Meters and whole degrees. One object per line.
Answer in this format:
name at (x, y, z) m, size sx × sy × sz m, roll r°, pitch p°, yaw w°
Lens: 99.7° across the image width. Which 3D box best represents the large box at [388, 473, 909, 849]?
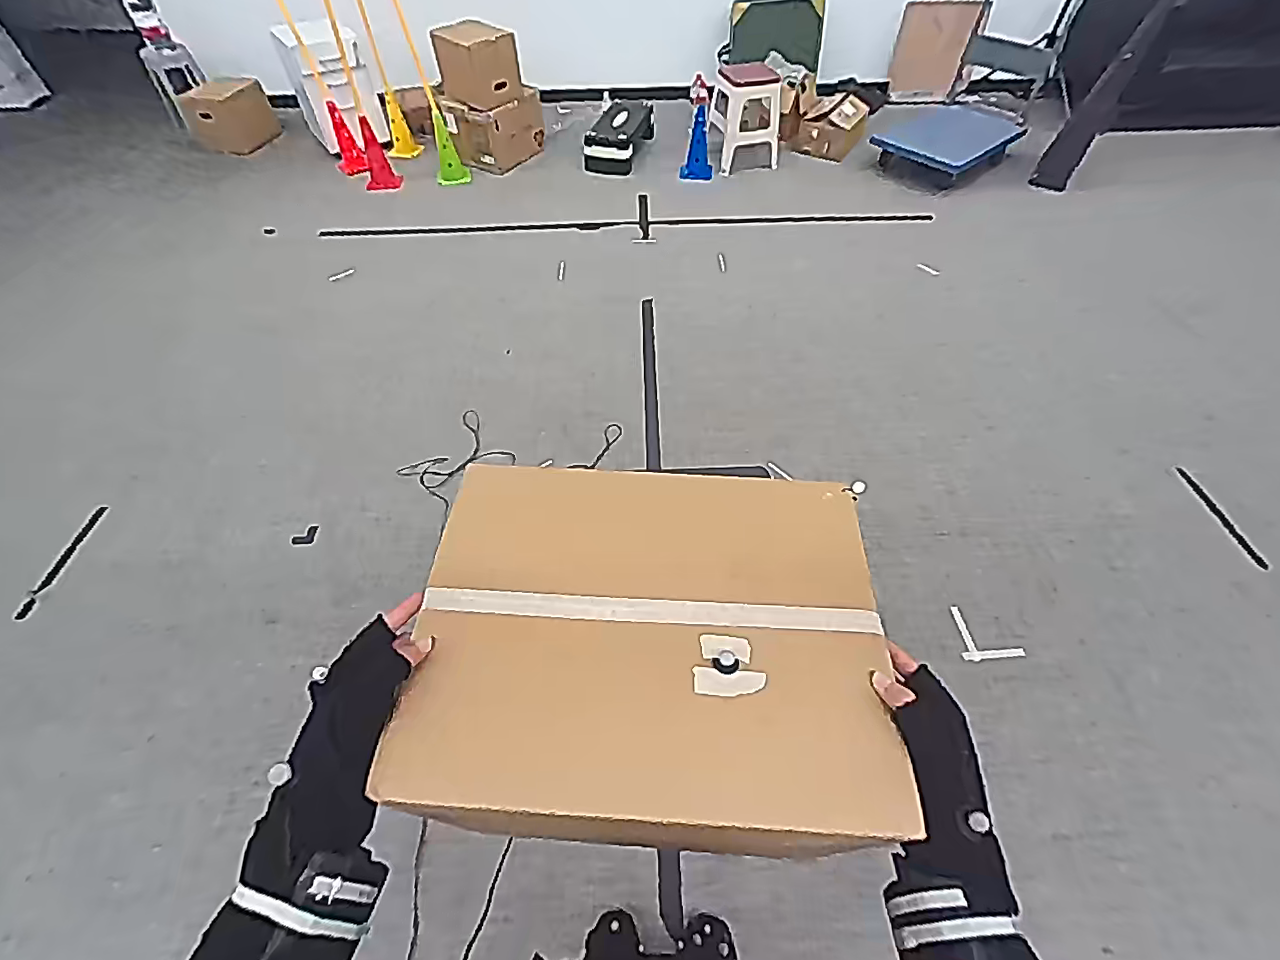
large box at (0.009, 0.211, 0.612) m, size 0.408 × 0.320 × 0.320 m, roll 3°, pitch 53°, yaw 2°
